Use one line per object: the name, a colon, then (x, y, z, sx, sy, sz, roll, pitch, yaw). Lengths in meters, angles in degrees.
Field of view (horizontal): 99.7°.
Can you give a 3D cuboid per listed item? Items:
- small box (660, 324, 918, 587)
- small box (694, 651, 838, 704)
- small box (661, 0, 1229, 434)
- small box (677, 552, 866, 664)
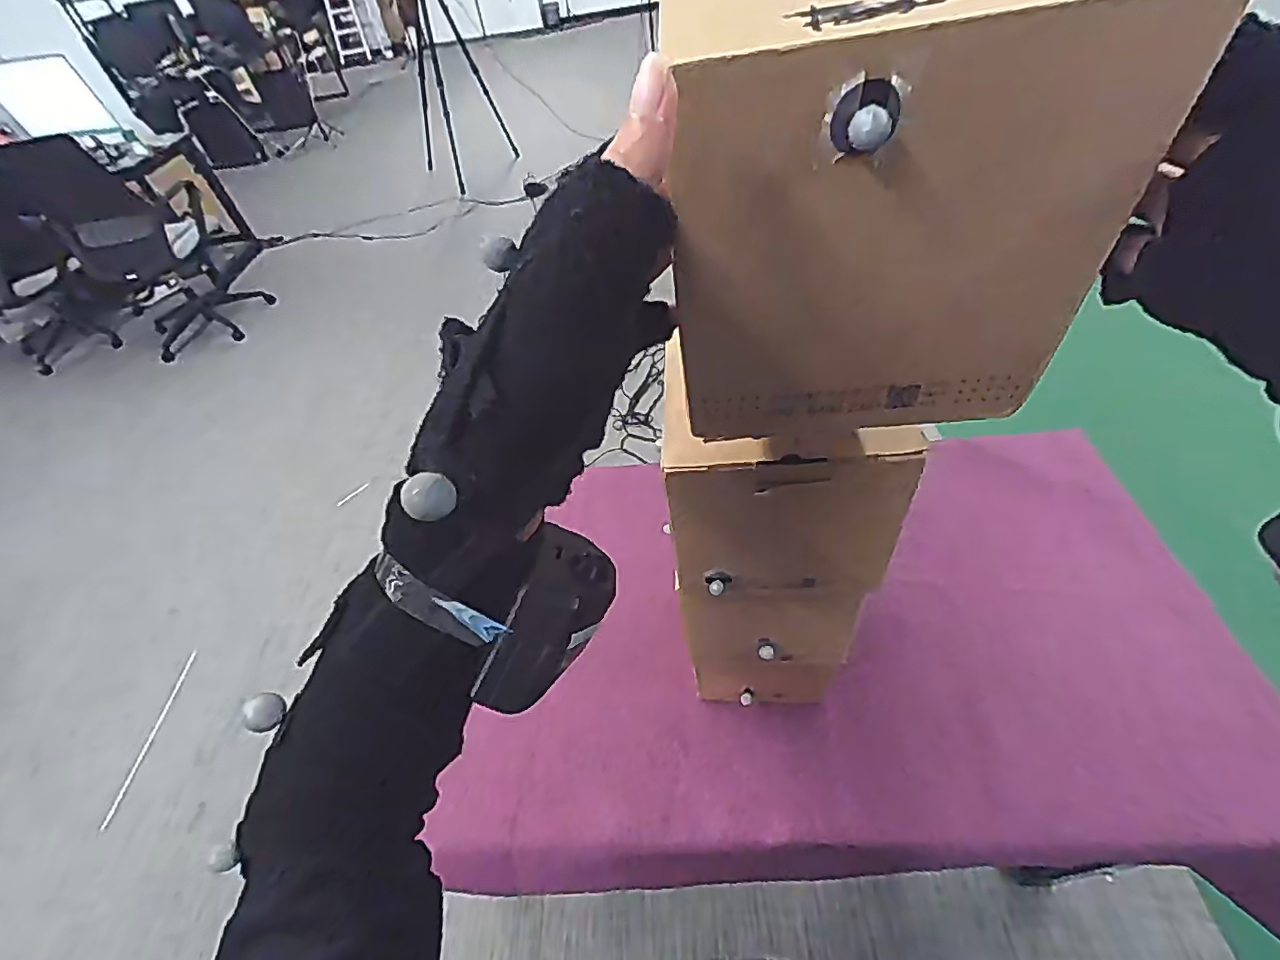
small box: (0.111, -0.021, 0.459, 0.168, 0.176, 0.179, -3, 47, 8)
small box: (0.156, 0.177, 0.717, 0.168, 0.176, 0.179, -2, 49, 9)
small box: (0.103, -0.144, 0.278, 0.168, 0.176, 0.179, -3, 50, 8)
small box: (0.129, 0.081, 0.587, 0.168, 0.176, 0.179, -4, 48, 8)
